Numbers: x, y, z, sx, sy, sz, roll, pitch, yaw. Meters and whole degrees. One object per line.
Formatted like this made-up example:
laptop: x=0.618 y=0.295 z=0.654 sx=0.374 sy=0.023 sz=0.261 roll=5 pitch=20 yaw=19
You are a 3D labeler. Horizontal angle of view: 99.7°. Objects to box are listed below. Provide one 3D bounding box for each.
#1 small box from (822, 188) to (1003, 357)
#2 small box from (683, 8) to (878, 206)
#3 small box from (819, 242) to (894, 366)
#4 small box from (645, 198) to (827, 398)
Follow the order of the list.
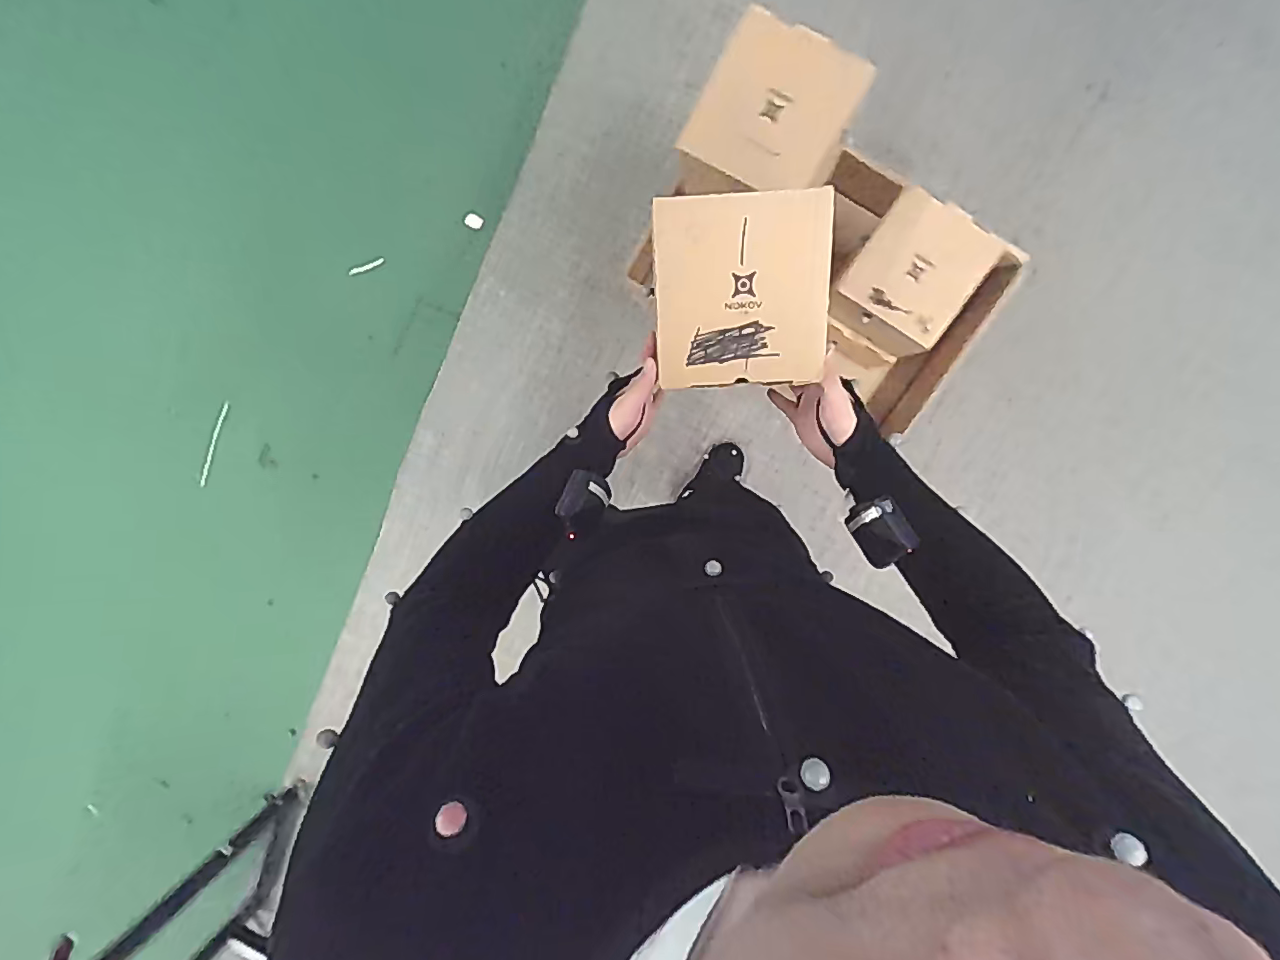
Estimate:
small box: x=0.417 y=-0.317 z=0.866 sx=0.168 sy=0.176 sz=0.179 roll=35 pitch=102 yaw=2
small box: x=0.170 y=-0.440 z=0.712 sx=0.168 sy=0.176 sz=0.179 roll=32 pitch=101 yaw=3
small box: x=0.434 y=-0.334 z=1.029 sx=0.168 sy=0.176 sz=0.179 roll=33 pitch=103 yaw=2
small box: x=0.093 y=-0.197 z=0.591 sx=0.168 sy=0.176 sz=0.179 roll=-4 pitch=110 yaw=1
